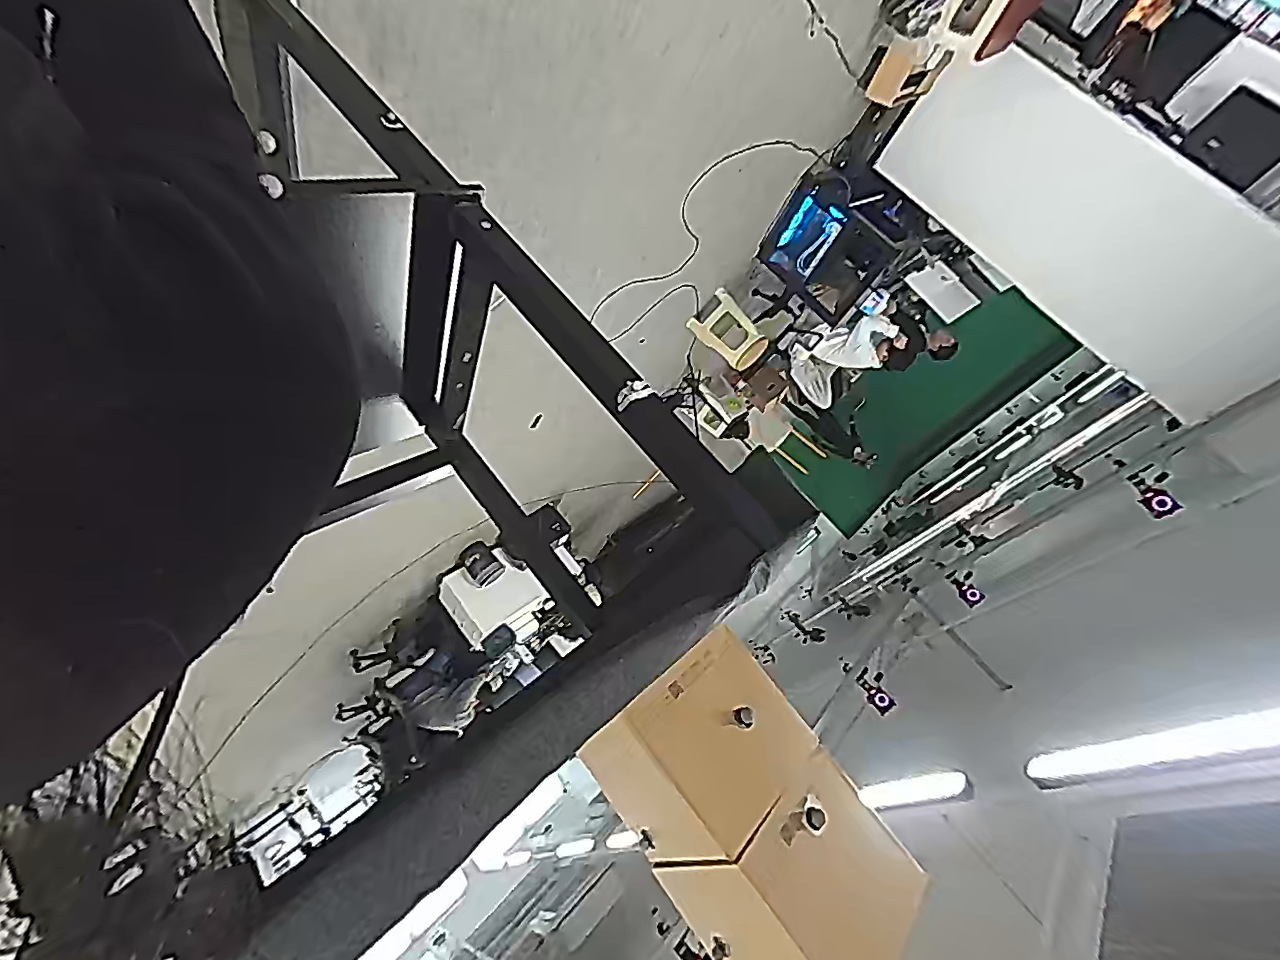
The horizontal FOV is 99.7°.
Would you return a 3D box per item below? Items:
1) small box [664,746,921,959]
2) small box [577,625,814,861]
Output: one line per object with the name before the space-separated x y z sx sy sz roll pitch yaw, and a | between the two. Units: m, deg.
small box | 0.151 0.417 0.582 0.168 0.176 0.179 -30 165 -42
small box | 0.053 0.292 0.617 0.168 0.176 0.179 -29 165 -39
